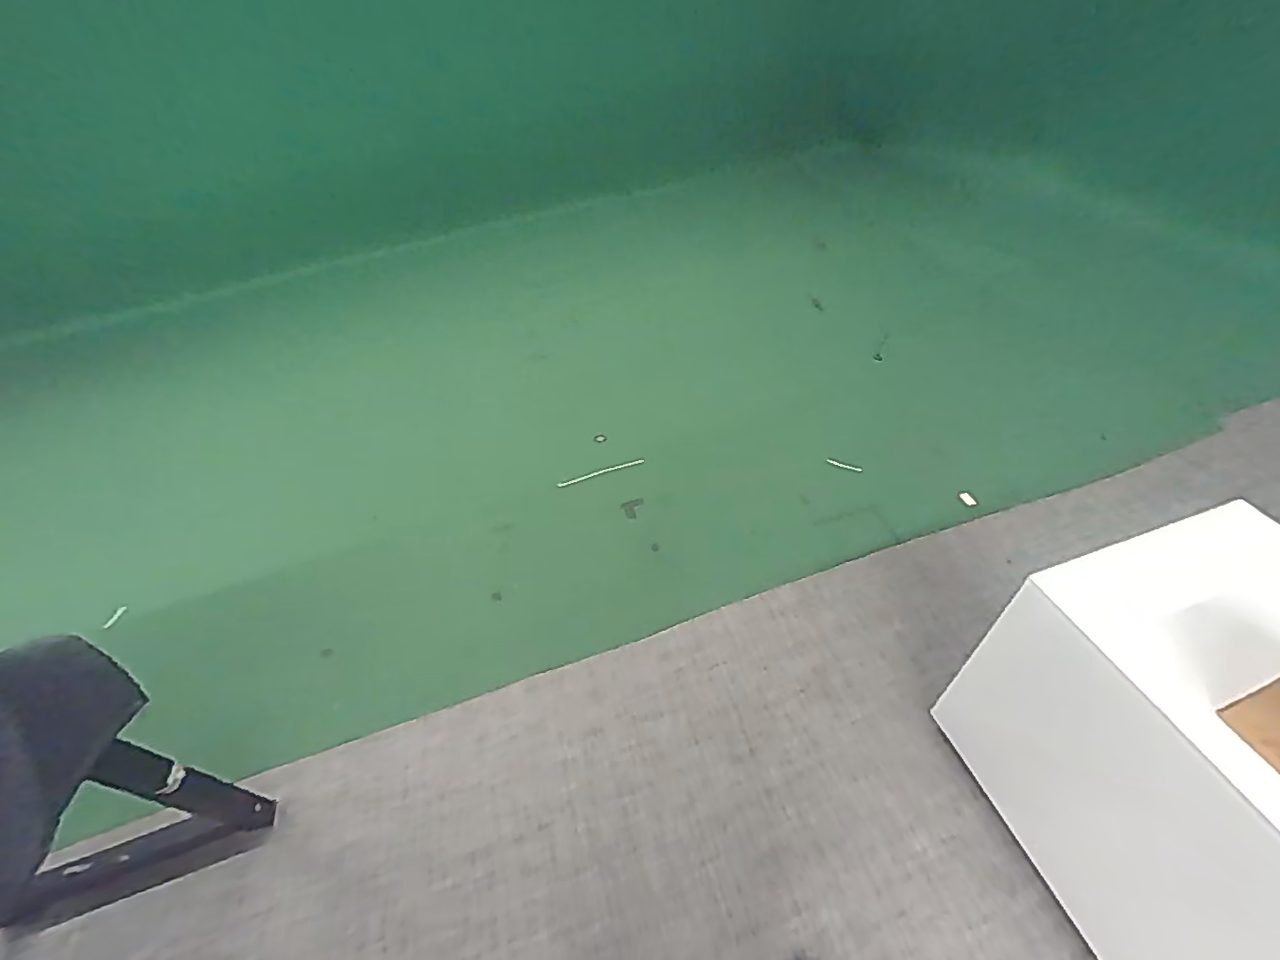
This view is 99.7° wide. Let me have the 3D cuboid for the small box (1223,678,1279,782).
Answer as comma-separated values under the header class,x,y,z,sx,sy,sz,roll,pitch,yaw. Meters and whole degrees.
class,x,y,z,sx,sy,sz,roll,pitch,yaw
small box,0.798,0.265,0.564,0.179,0.176,0.168,-18,47,-8
